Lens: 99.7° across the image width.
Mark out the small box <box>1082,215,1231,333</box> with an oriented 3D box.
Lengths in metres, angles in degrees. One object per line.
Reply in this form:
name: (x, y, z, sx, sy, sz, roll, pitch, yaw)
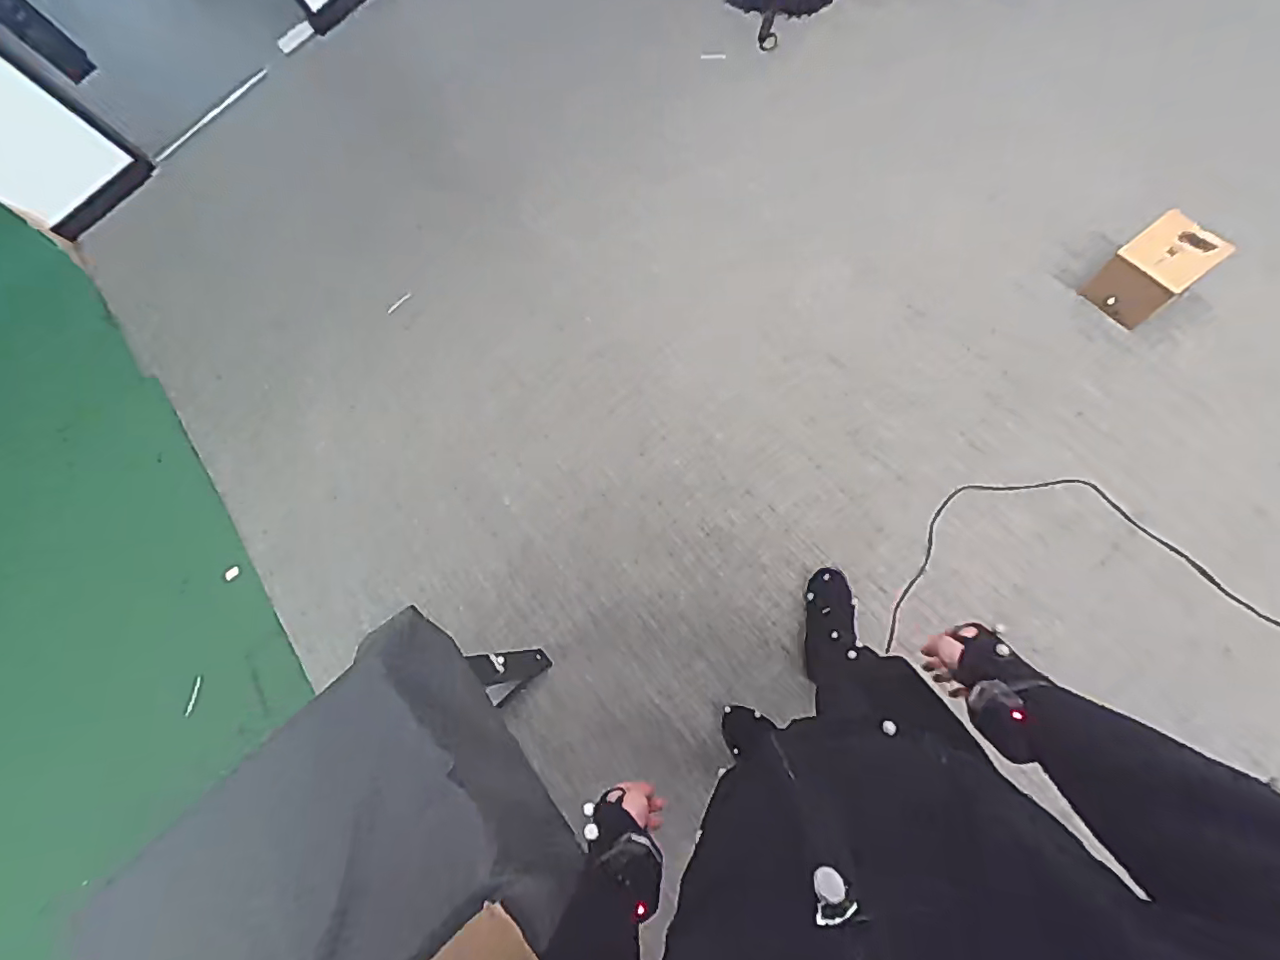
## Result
small box: (1.277, -0.510, 1.355, 0.179, 0.176, 0.168, -38, 69, 2)
